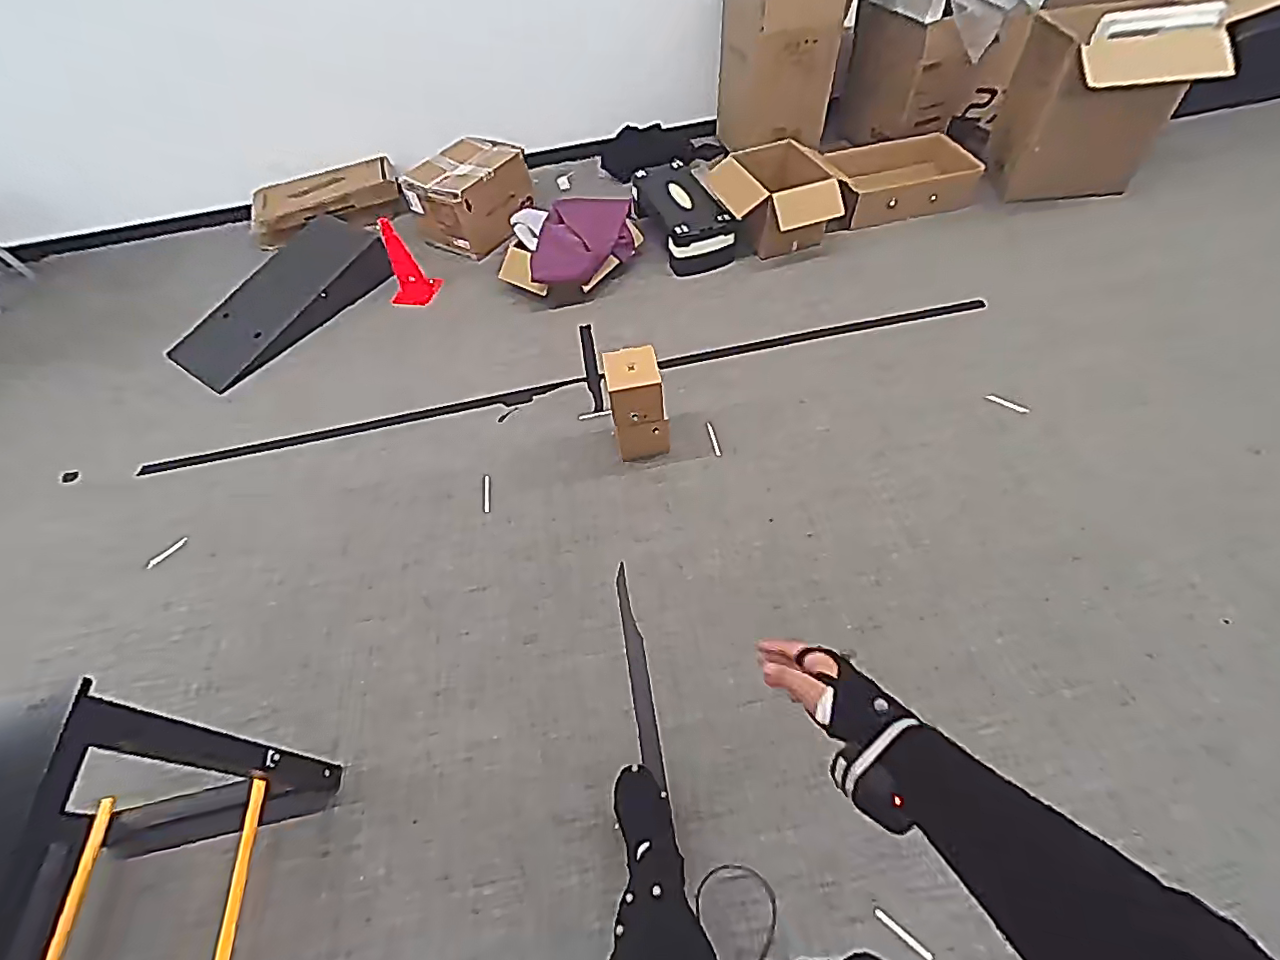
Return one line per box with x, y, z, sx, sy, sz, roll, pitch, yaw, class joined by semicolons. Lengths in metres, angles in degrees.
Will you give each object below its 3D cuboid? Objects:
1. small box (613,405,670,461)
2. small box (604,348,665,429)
0.002;-0.187;1.855;0.179;0.176;0.168;-12;54;-3;small box
-0.018;-0.291;1.730;0.168;0.176;0.179;-11;55;-1;small box
